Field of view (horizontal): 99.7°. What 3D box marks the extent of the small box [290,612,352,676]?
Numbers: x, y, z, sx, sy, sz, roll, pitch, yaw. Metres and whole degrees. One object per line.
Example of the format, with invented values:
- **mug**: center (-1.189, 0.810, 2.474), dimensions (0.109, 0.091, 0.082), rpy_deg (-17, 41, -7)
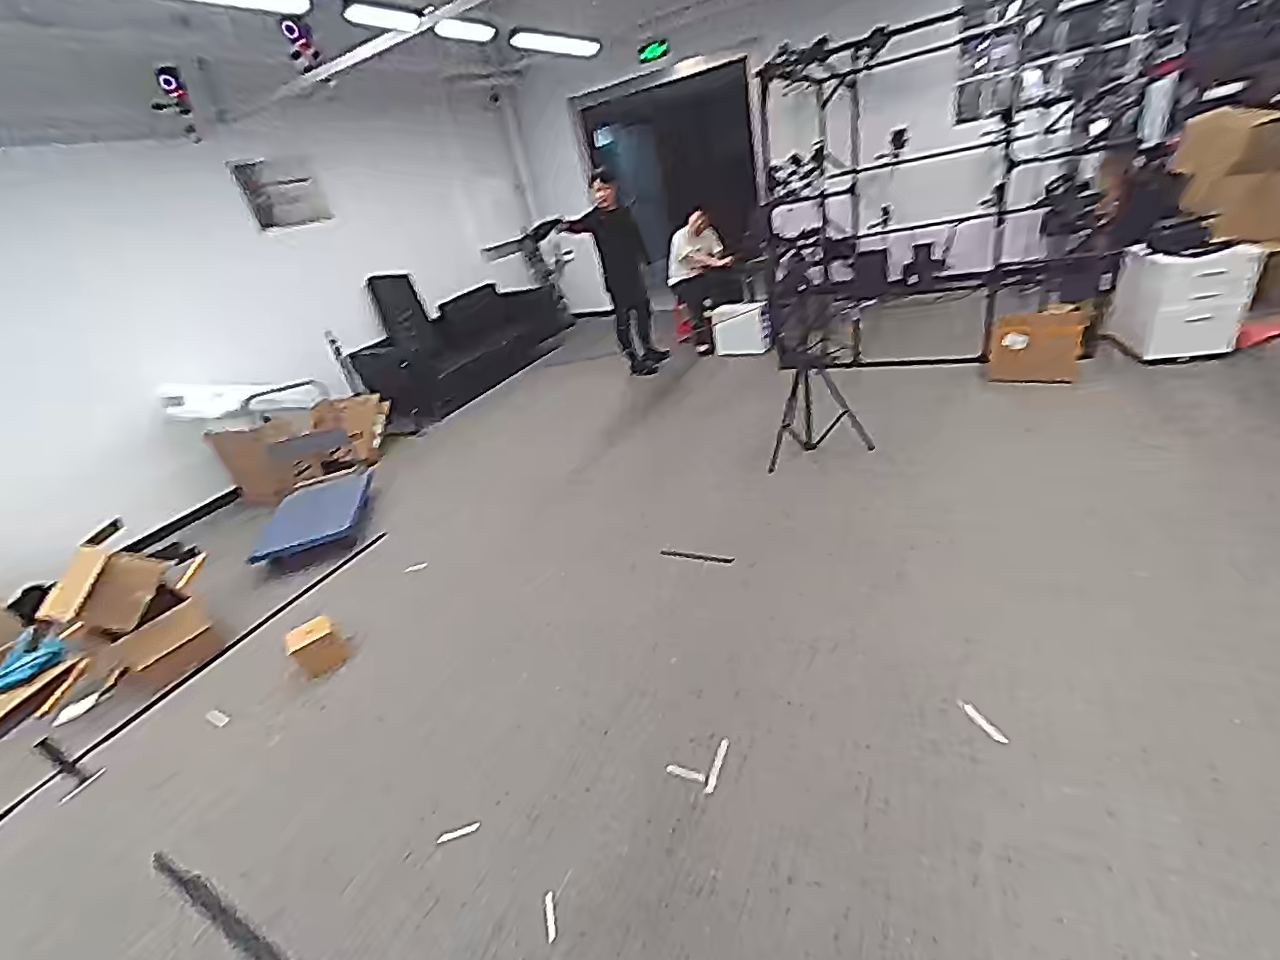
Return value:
- **small box**: center (-1.409, 0.726, 2.387), dimensions (0.179, 0.176, 0.168), rpy_deg (-29, 32, -28)
